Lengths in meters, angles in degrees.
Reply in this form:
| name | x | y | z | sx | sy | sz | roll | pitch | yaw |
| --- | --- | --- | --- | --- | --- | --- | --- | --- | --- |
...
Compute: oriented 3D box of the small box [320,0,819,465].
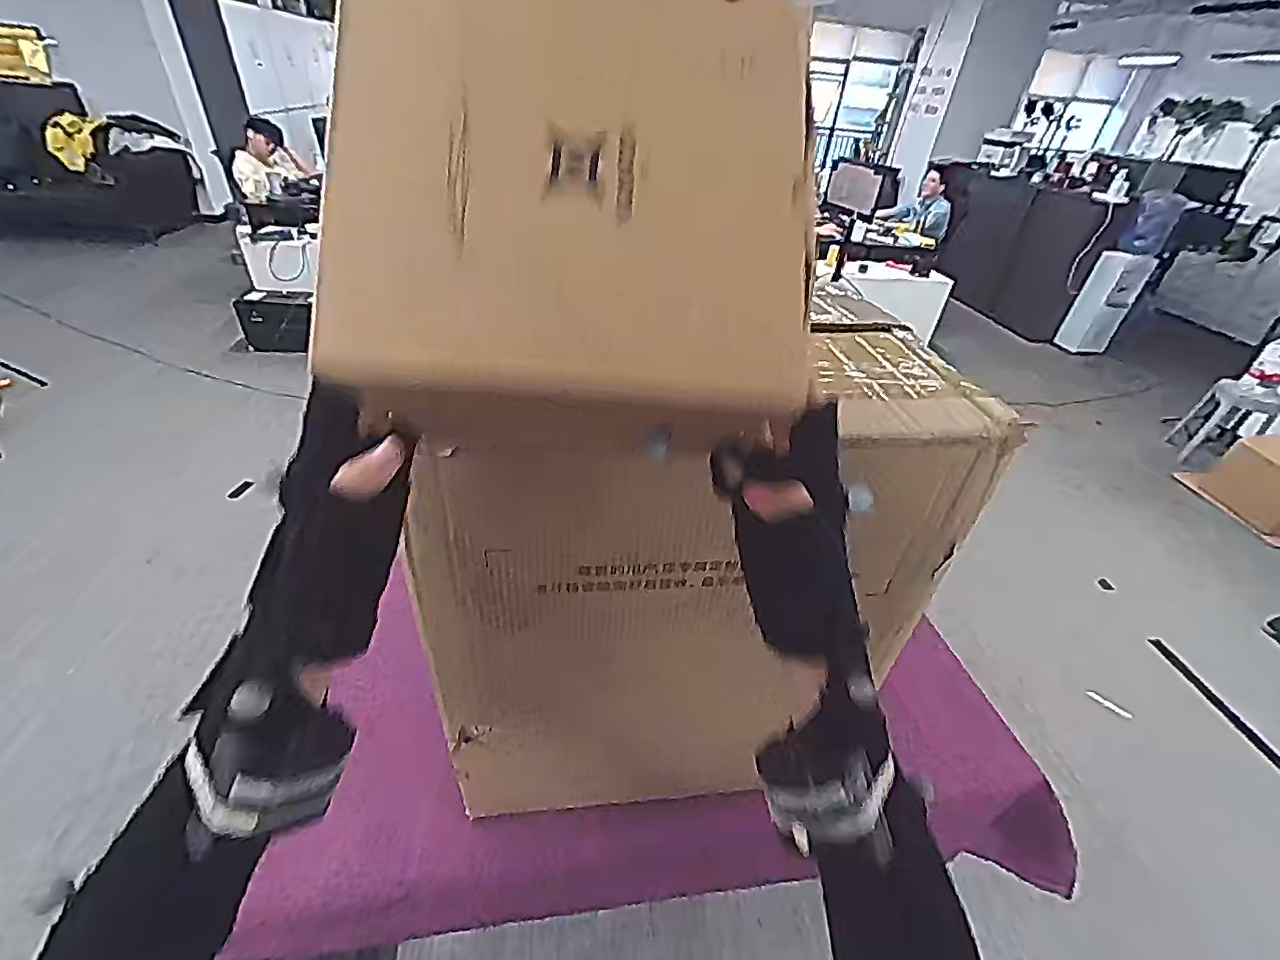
| name | x | y | z | sx | sy | sz | roll | pitch | yaw |
| --- | --- | --- | --- | --- | --- | --- | --- | --- | --- |
| small box | -0.030 | -0.099 | 0.275 | 0.179 | 0.168 | 0.176 | 2 | -5 | -8 |
